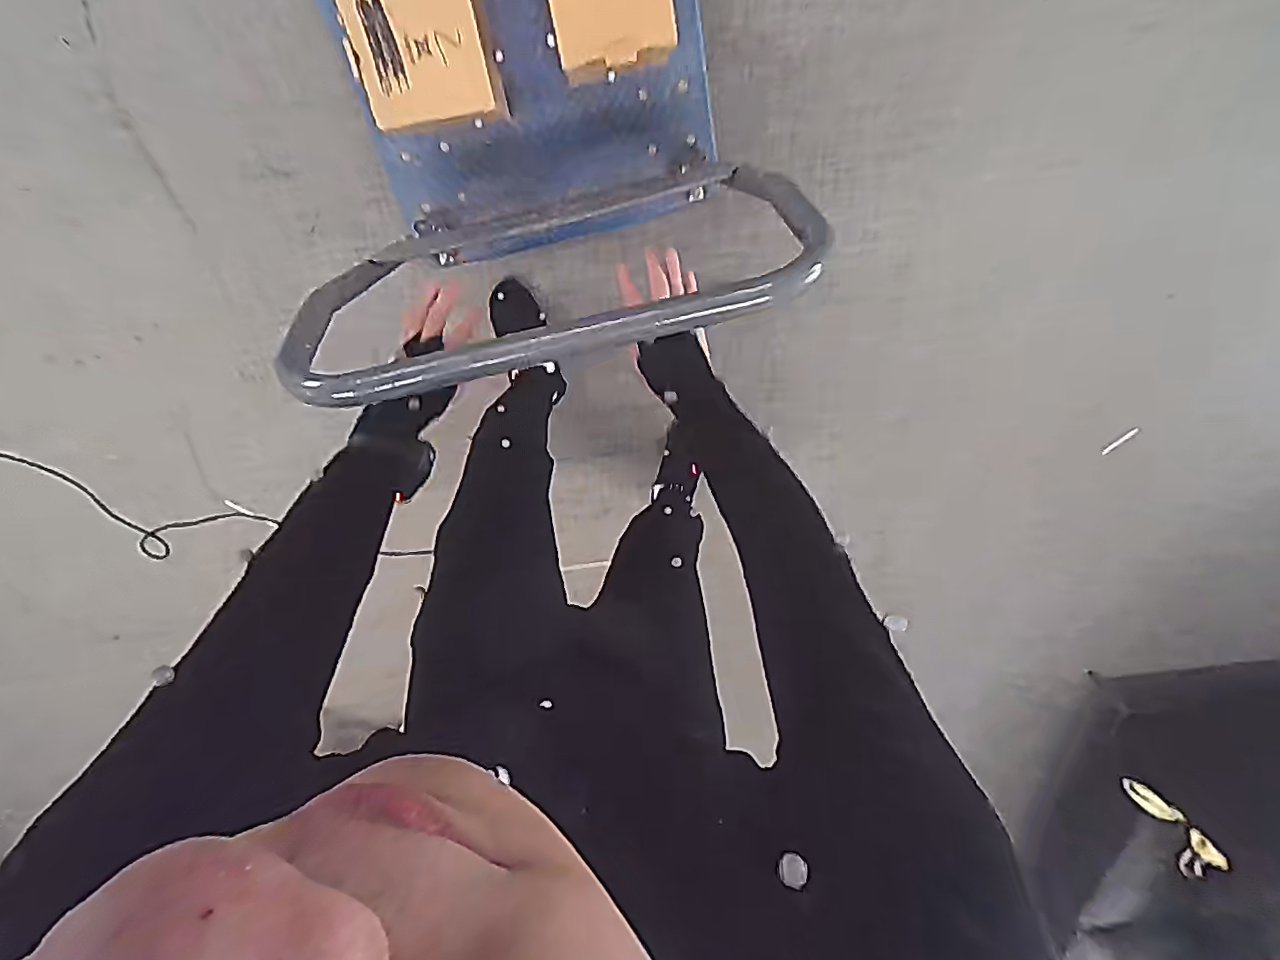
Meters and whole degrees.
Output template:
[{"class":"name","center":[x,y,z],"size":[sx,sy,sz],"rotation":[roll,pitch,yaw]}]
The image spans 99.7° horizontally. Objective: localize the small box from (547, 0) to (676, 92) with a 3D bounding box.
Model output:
[{"class":"small box","center":[-0.050,-0.696,0.788],"size":[0.168,0.176,0.179],"rotation":[-12,120,2]}]
